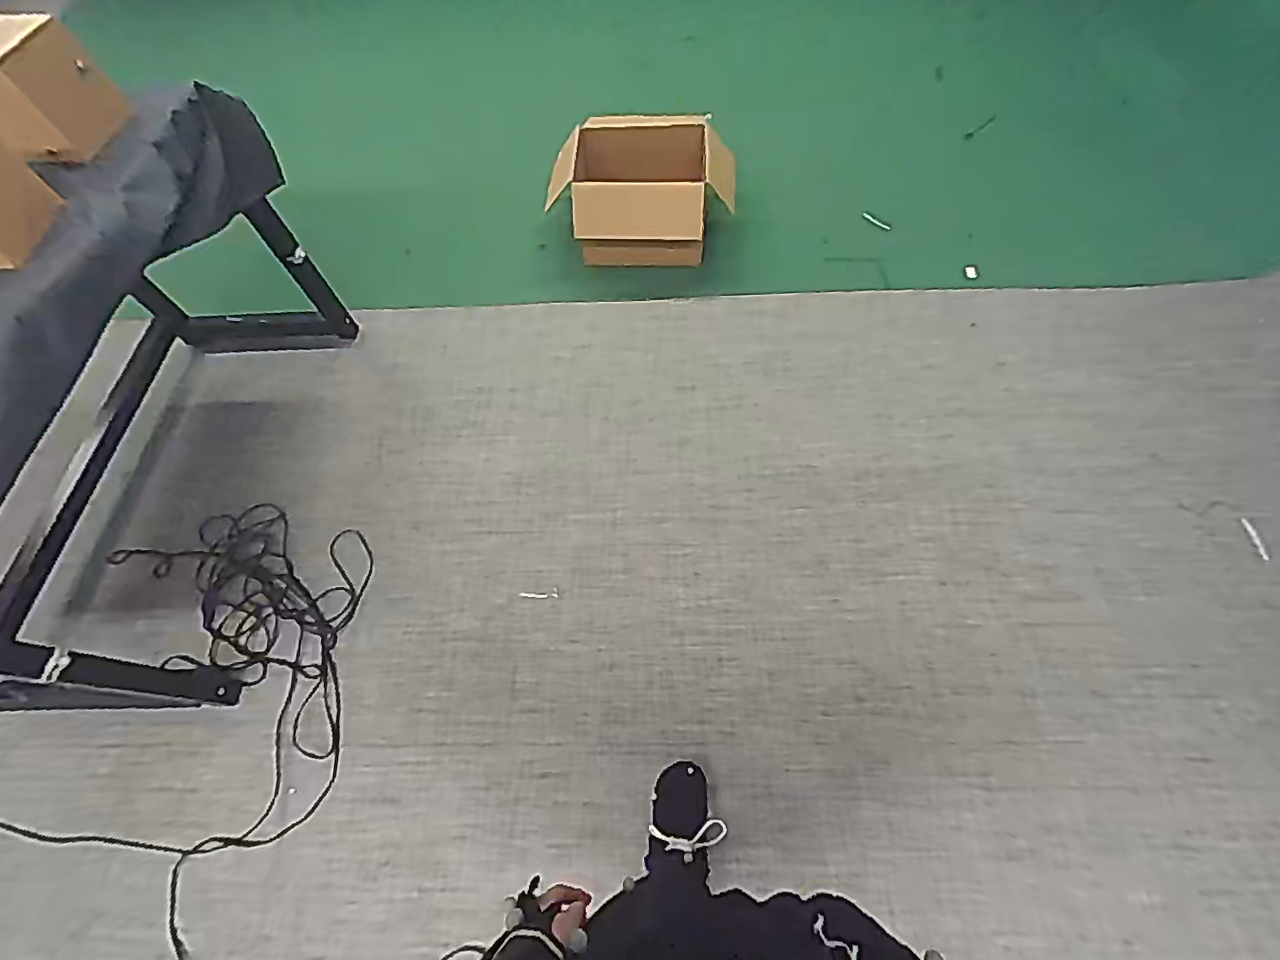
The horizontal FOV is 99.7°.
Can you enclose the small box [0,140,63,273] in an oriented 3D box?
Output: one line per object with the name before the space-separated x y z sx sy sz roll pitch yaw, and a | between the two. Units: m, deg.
small box | -1.119 -0.461 0.878 0.168 0.176 0.179 -4 62 1
